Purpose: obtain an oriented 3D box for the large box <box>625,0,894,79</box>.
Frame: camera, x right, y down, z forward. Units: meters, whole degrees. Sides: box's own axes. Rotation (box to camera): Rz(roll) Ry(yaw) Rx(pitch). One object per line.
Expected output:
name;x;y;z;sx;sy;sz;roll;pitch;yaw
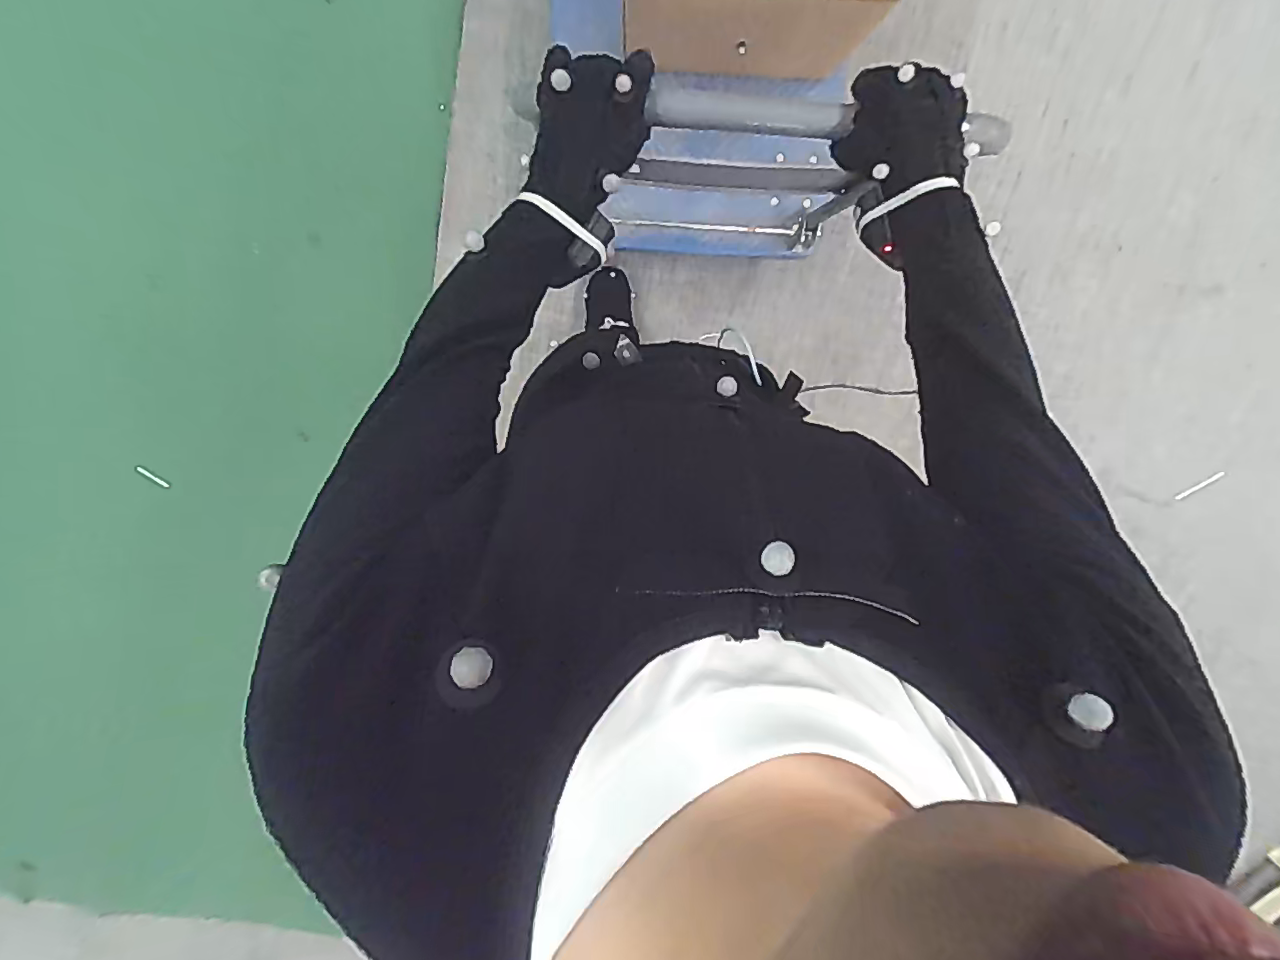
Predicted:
large box;0.182;-0.895;0.886;0.408;0.320;0.320;2;108;0
